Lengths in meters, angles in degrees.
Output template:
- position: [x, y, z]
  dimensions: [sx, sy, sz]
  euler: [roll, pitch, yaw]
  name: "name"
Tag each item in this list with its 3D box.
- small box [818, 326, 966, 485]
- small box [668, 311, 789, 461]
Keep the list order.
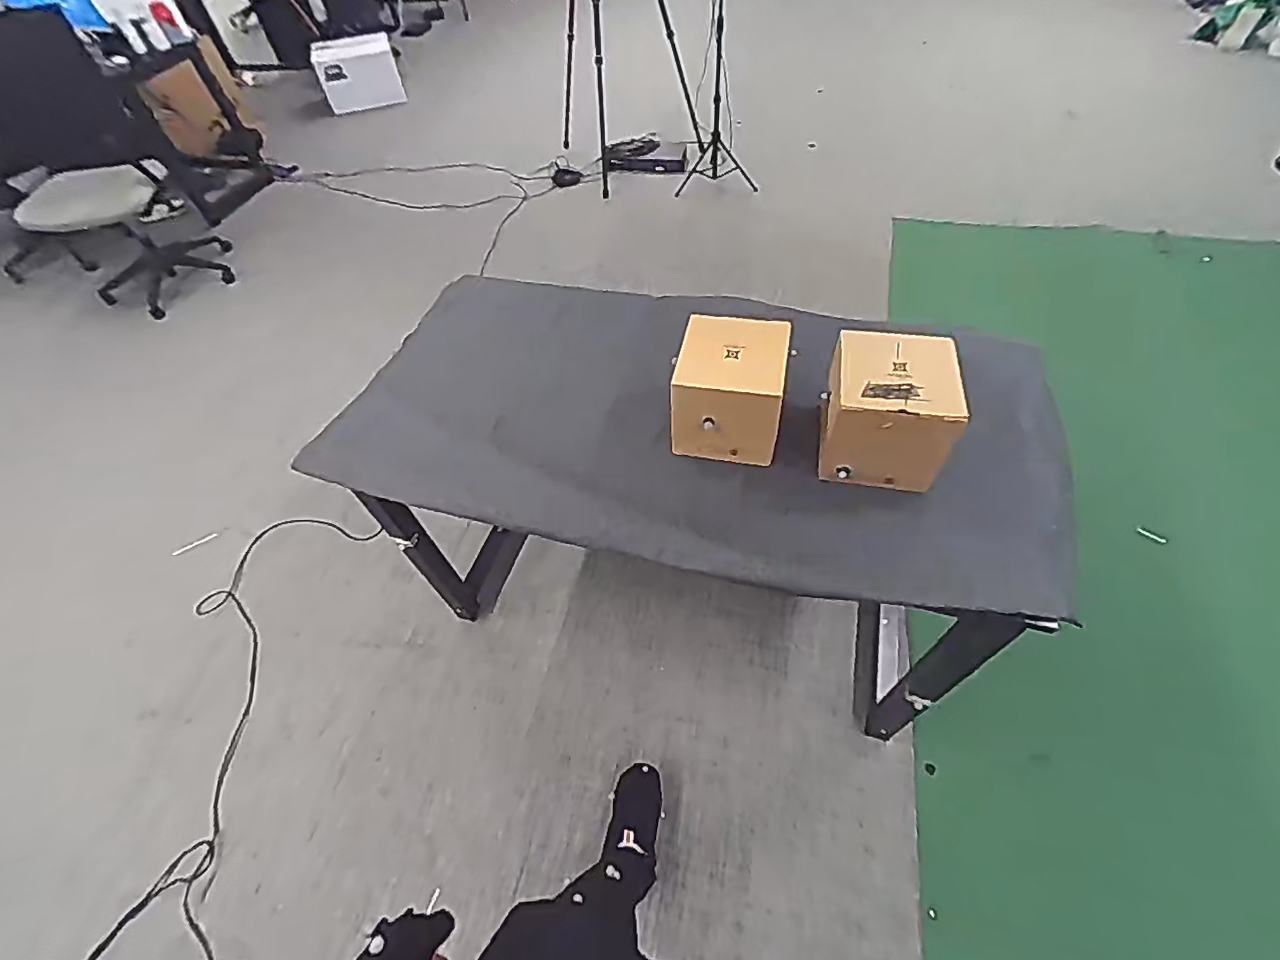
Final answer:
- position: [0.377, -0.113, 0.839]
  dimensions: [0.168, 0.176, 0.179]
  euler: [8, 53, 11]
  name: "small box"
- position: [0.146, -0.153, 0.893]
  dimensions: [0.168, 0.176, 0.179]
  euler: [8, 53, 11]
  name: "small box"
